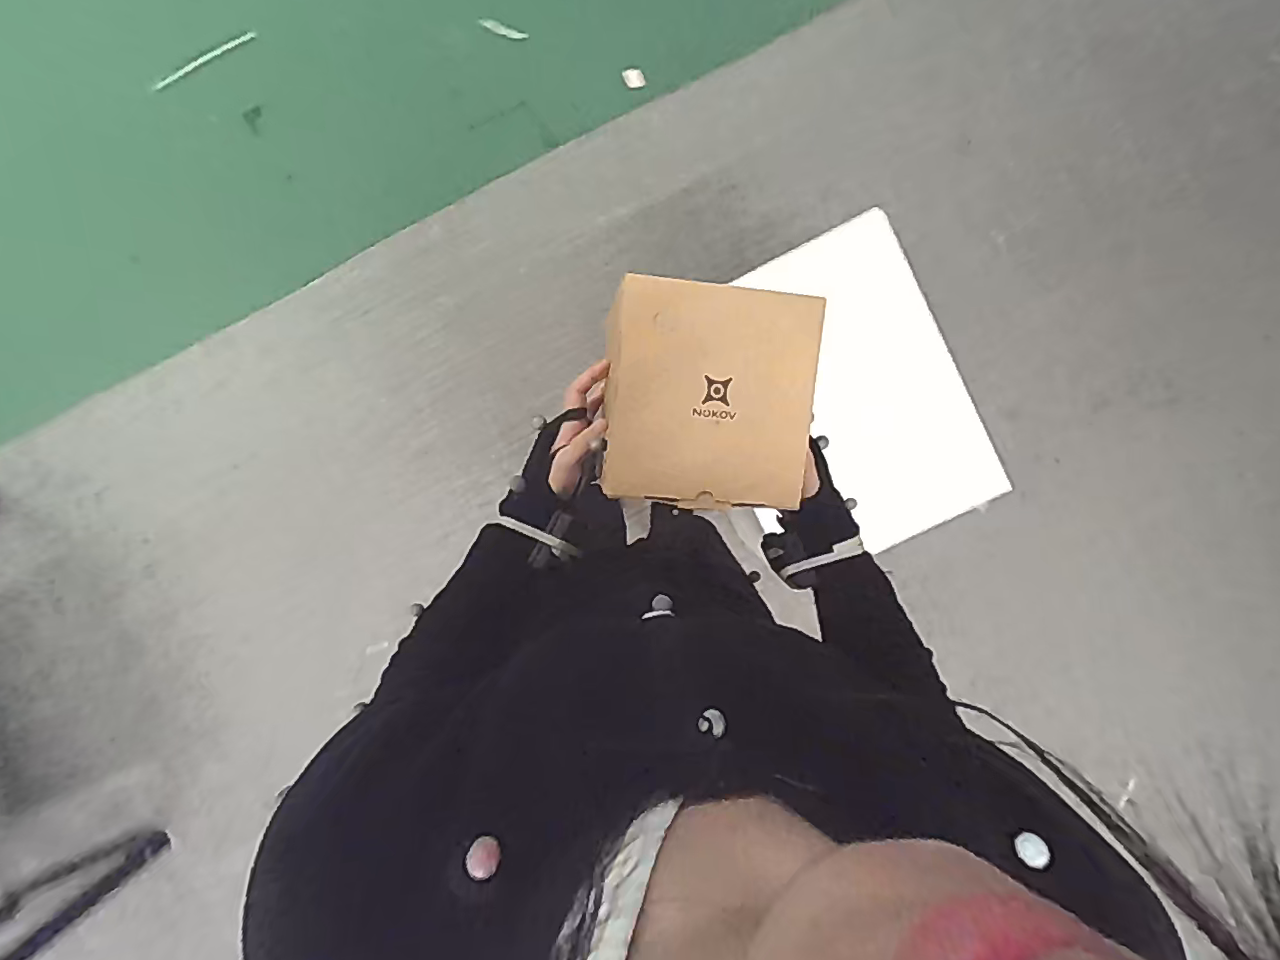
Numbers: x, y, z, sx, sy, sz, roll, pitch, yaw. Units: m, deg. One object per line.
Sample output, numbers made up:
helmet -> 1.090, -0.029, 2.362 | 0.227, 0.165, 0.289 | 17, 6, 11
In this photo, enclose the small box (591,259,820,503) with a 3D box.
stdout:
small box -> 0.043, -0.081, 0.492 | 0.168, 0.176, 0.179 | 3, 97, -7
